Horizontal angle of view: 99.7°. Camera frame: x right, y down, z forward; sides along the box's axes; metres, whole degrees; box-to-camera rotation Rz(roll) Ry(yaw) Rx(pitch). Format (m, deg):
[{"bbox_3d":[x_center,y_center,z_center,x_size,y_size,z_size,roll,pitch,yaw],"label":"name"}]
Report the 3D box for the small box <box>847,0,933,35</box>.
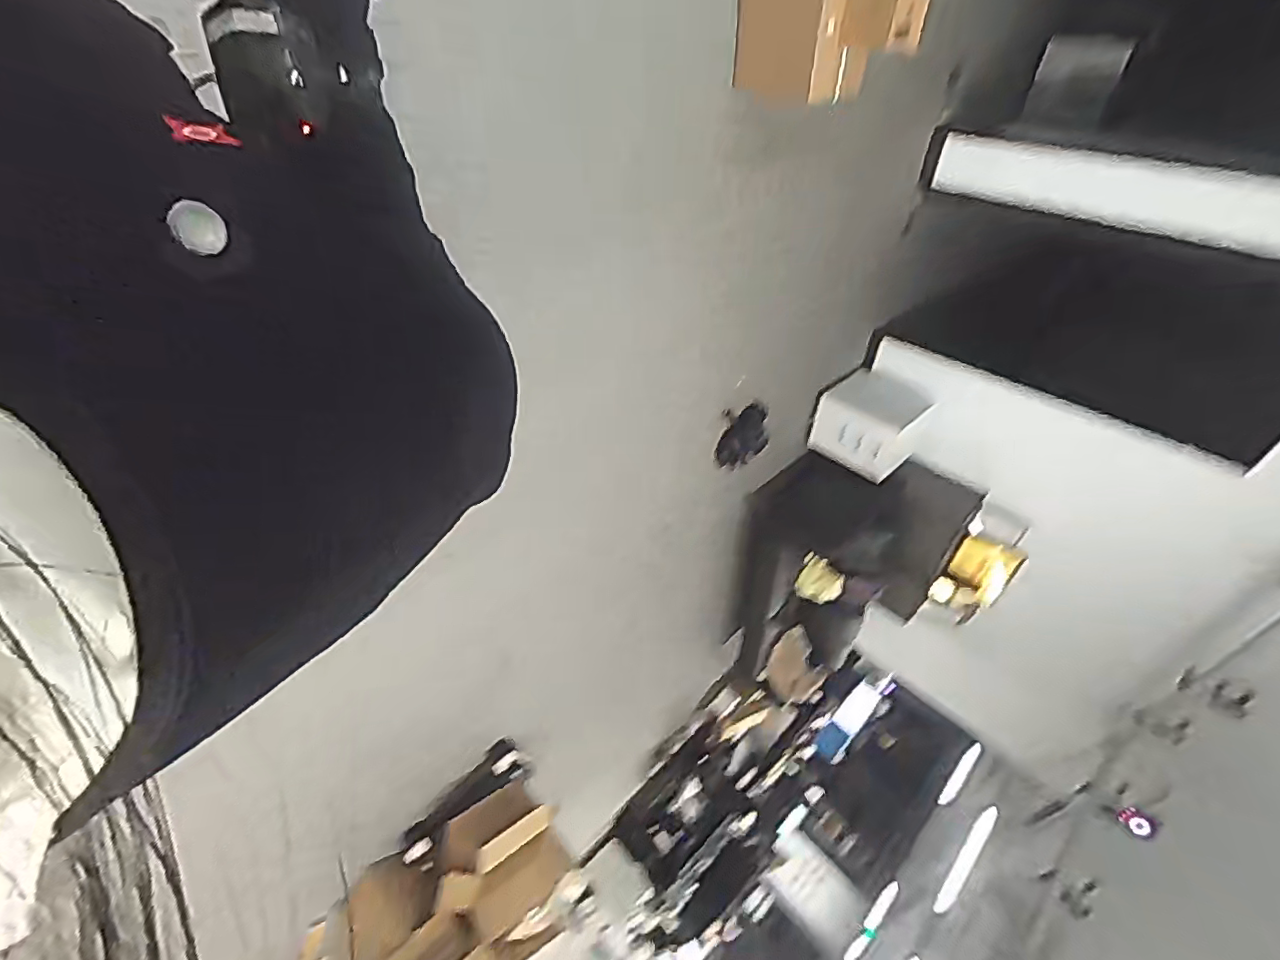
[{"bbox_3d":[0.722,-1.396,1.542,0.168,0.176,0.179,-29,140,-24],"label":"small box"}]
